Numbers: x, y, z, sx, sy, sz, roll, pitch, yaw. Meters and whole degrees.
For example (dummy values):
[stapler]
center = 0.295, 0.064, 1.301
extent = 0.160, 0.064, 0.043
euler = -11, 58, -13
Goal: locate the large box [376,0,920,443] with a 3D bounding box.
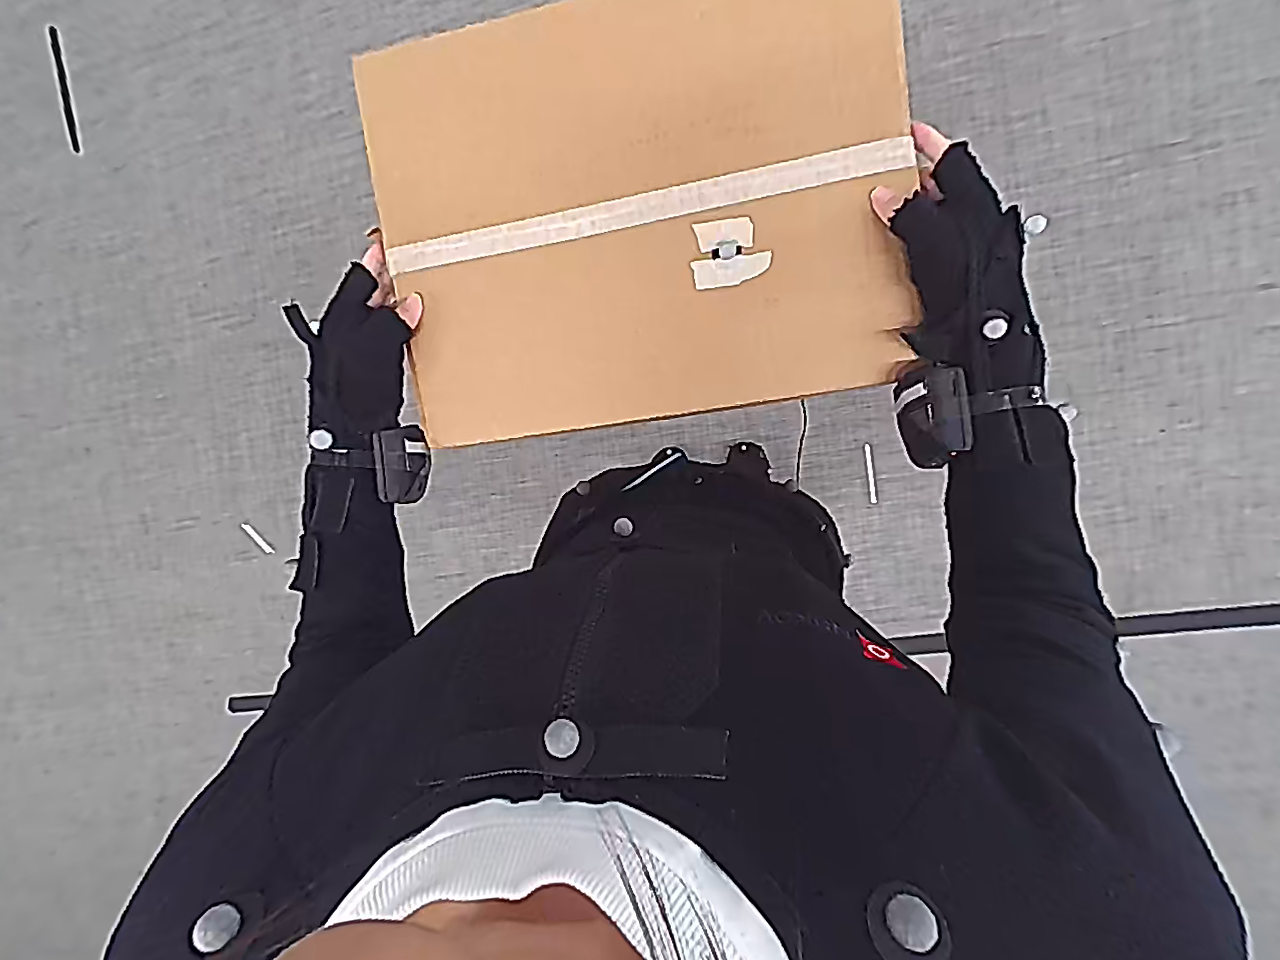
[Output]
[large box]
center = 0.016, -0.227, 0.574
extent = 0.408, 0.320, 0.320
euler = -8, 97, 8
